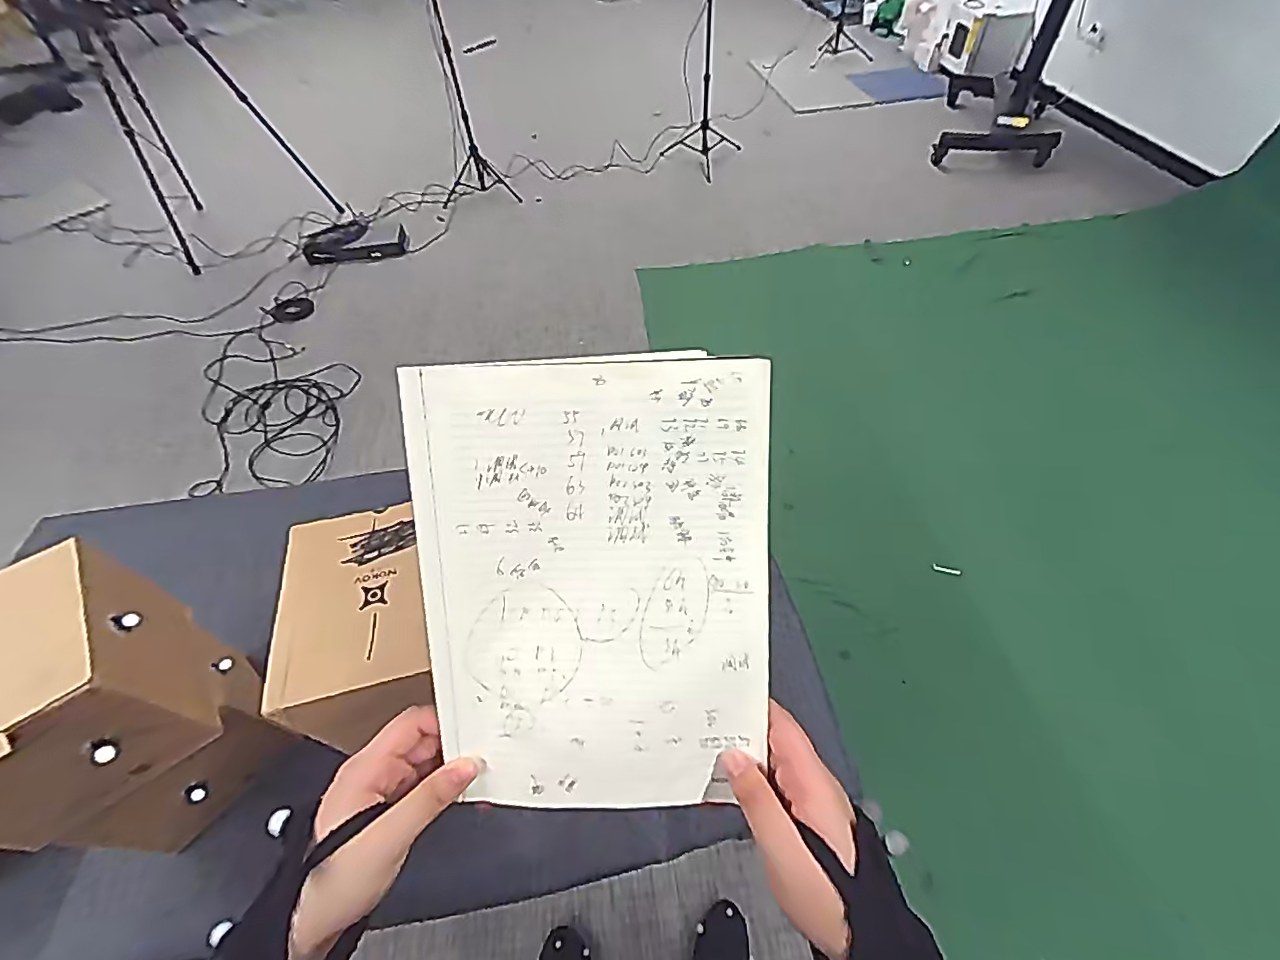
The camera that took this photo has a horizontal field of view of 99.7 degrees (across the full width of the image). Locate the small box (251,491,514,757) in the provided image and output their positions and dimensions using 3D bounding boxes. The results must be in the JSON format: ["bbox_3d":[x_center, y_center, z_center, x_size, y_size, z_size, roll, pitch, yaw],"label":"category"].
[{"bbox_3d":[-0.227,0.141,0.524,0.168,0.176,0.179,-13,53,-6],"label":"small box"}]

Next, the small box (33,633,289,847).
[{"bbox_3d":[-0.561,0.291,0.630,0.179,0.176,0.168,33,60,25],"label":"small box"}]

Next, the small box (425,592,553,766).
[{"bbox_3d":[-0.224,0.230,0.664,0.179,0.176,0.168,14,54,14],"label":"small box"}]

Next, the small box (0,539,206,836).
[{"bbox_3d":[-0.548,0.195,0.499,0.168,0.176,0.179,-32,57,-22],"label":"small box"}]
